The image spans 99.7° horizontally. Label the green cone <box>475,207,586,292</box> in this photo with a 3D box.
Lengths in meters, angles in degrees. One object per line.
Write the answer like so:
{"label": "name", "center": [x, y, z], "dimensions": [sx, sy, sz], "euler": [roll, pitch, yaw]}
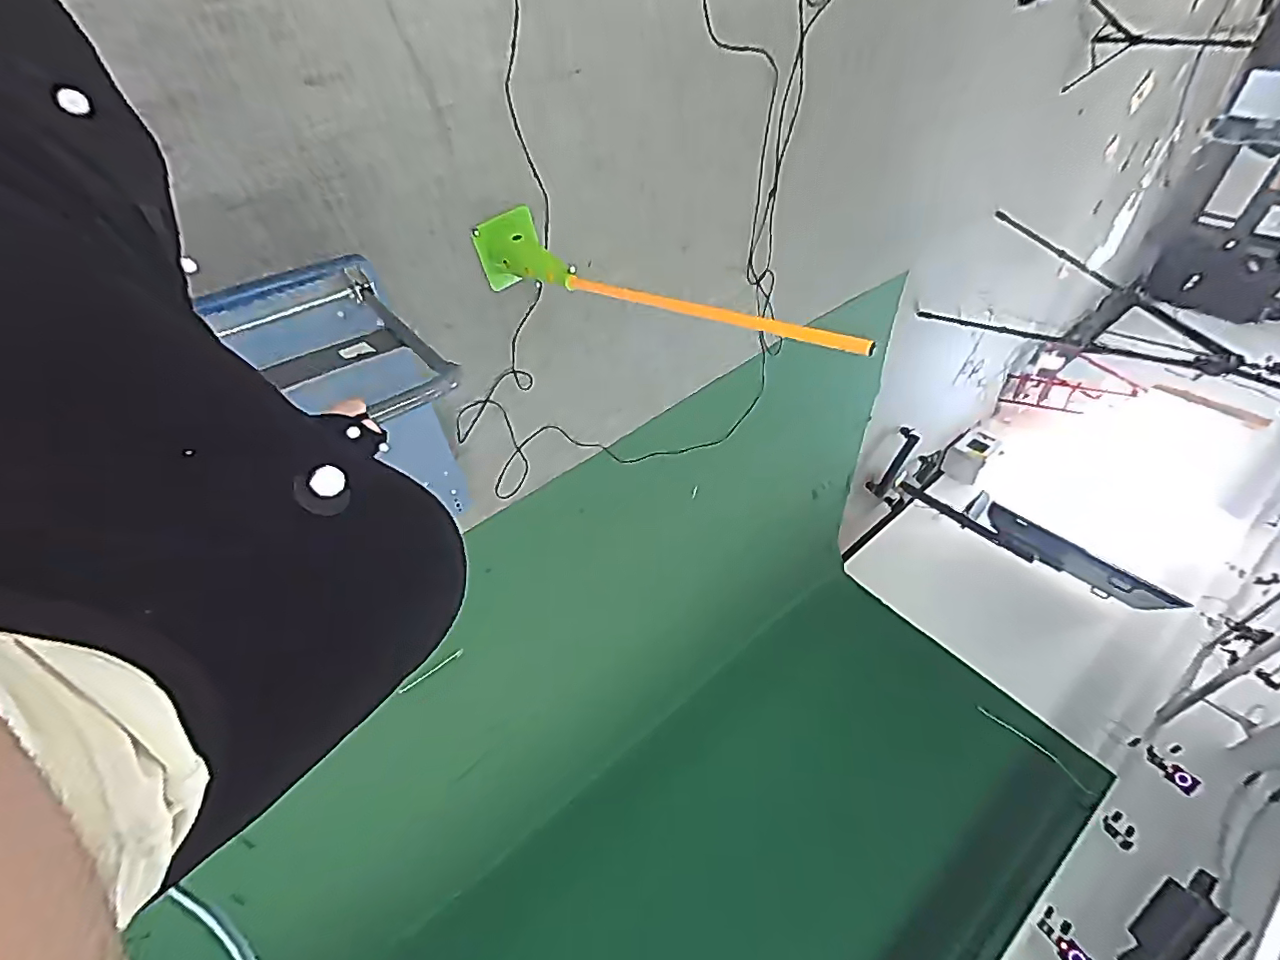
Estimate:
{"label": "green cone", "center": [-0.277, -0.608, 1.536], "dimensions": [0.202, 0.368, 0.200], "euler": [-37, 142, -19]}
